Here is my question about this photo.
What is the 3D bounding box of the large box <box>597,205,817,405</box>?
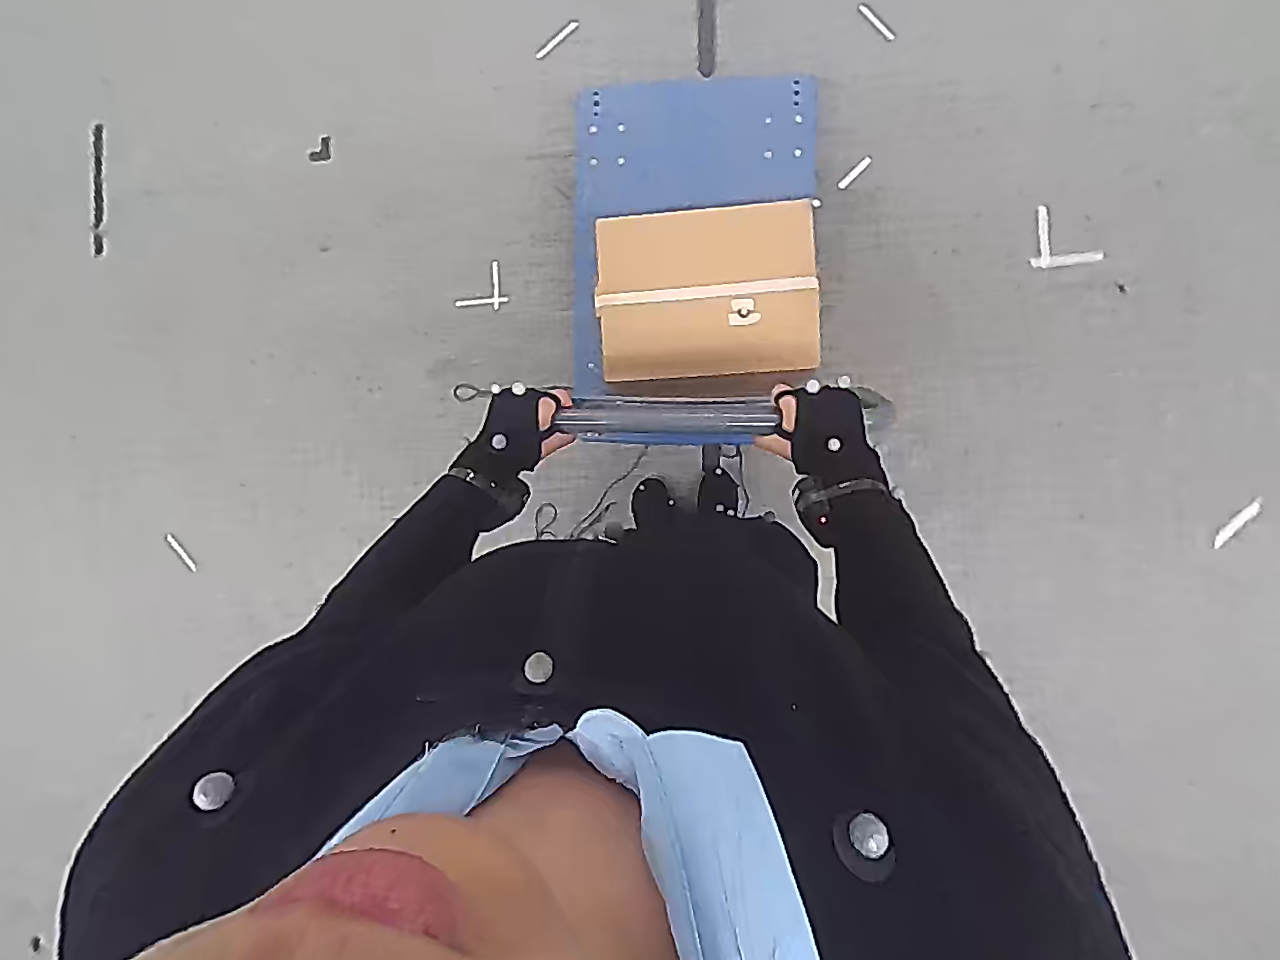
[{"bbox_3d":[0.134,-0.349,1.173,0.408,0.320,0.320,-3,91,4],"label":"large box"}]
